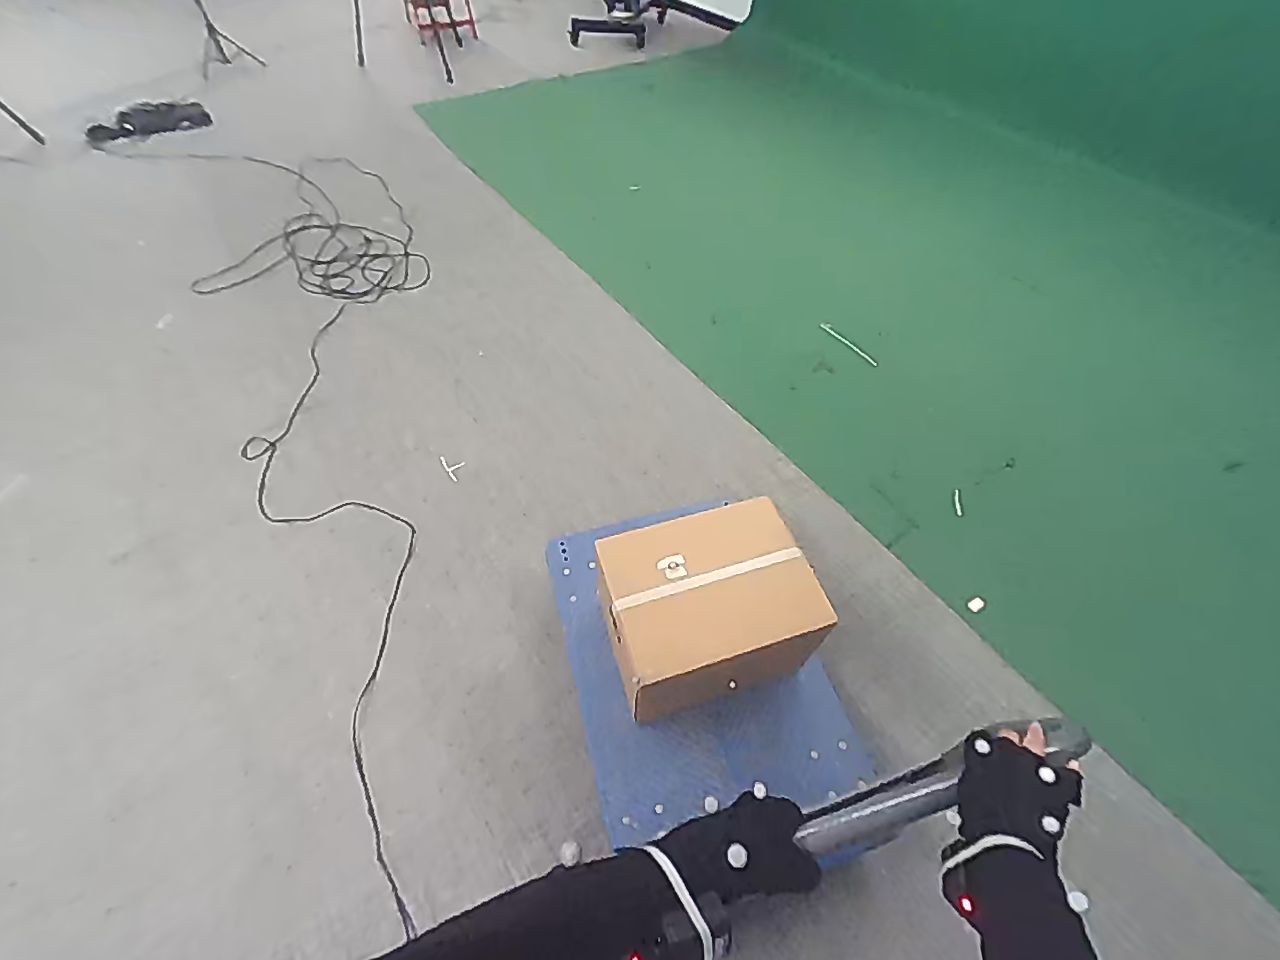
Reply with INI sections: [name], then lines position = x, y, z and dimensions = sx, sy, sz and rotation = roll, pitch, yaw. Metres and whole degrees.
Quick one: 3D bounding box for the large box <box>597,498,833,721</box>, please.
[large box]
position = 0.142, 0.293, 1.210
dimensions = 0.408, 0.320, 0.320
rotation = -15, 55, -11
